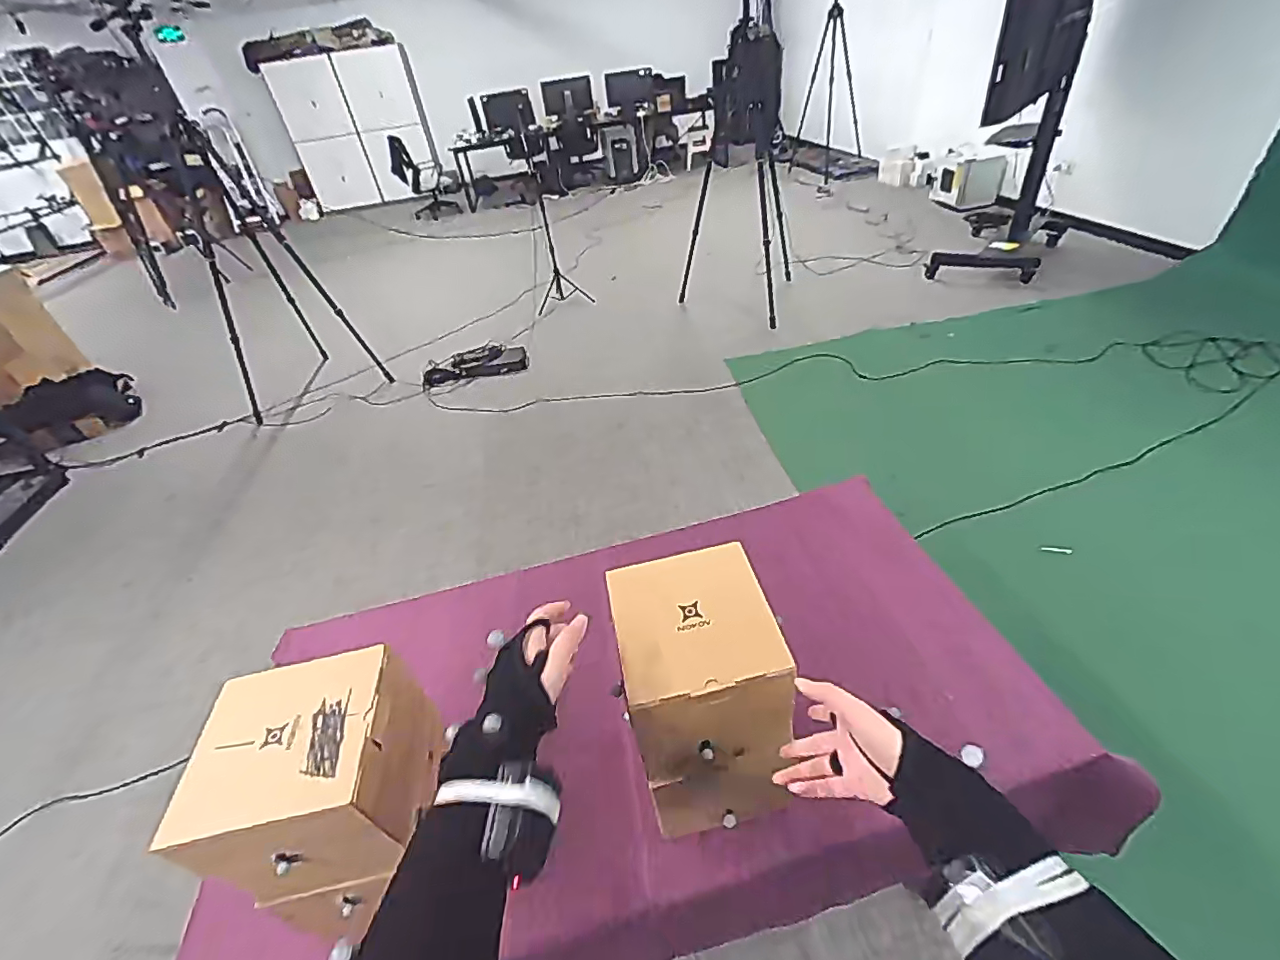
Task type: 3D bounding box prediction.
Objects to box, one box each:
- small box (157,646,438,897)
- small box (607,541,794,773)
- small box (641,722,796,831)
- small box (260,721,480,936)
[{"bbox_3d":[-0.334,0.310,0.578,0.179,0.176,0.168,-13,40,-3],"label":"small box"},{"bbox_3d":[0.064,0.203,0.628,0.168,0.176,0.179,-13,41,-3],"label":"small box"},{"bbox_3d":[0.089,0.334,0.723,0.179,0.176,0.168,-13,39,-4],"label":"small box"},{"bbox_3d":[-0.318,0.438,0.680,0.179,0.176,0.168,-12,40,-4],"label":"small box"}]
